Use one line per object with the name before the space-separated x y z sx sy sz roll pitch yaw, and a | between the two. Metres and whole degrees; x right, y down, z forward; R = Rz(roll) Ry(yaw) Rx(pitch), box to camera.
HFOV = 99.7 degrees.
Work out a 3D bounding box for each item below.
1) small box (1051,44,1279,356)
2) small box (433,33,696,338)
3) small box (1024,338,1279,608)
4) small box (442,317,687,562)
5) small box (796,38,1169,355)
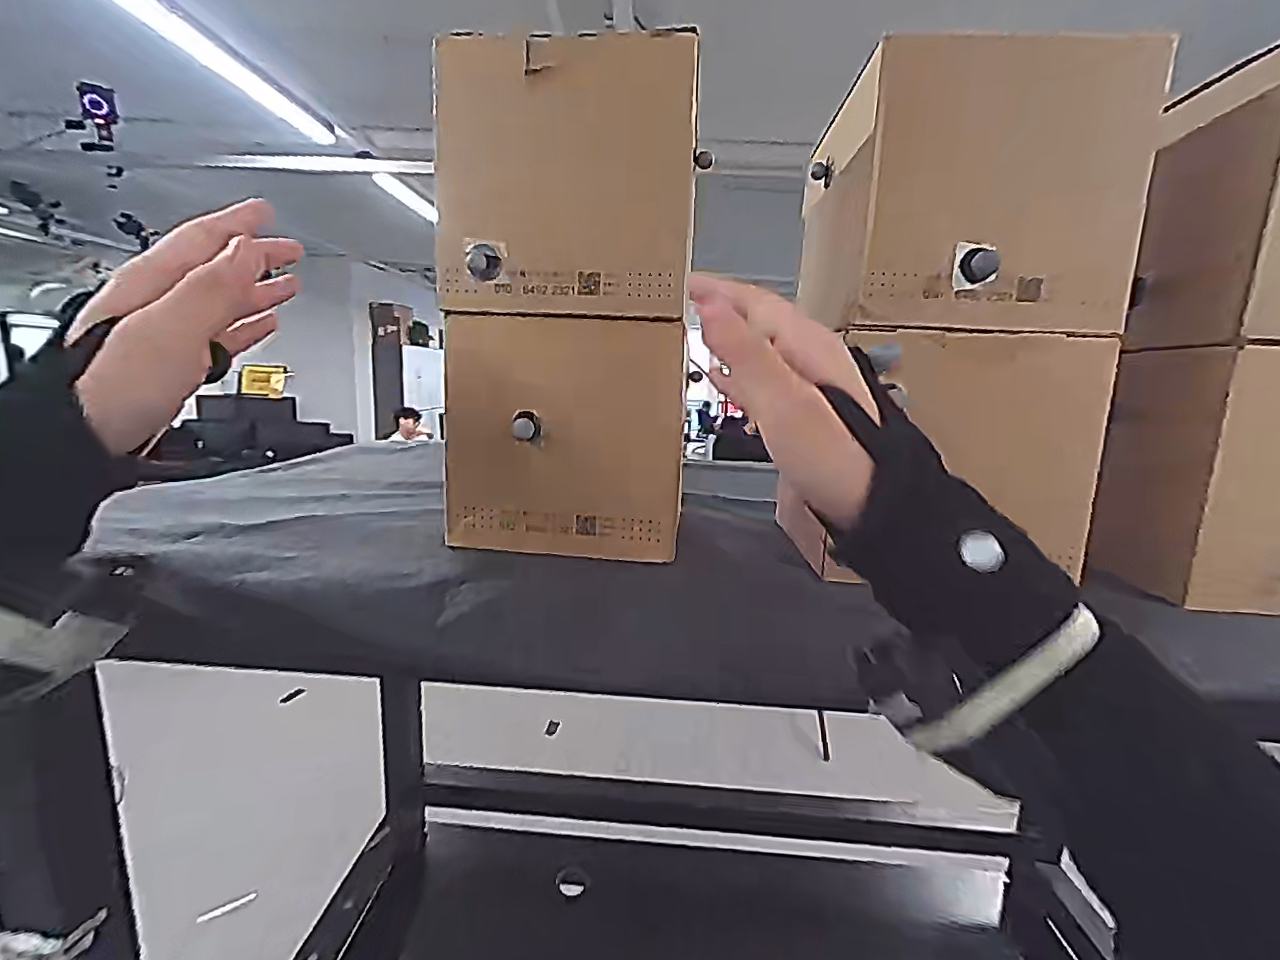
small box | 0.440 -0.173 0.383 0.168 0.176 0.179 4 11 4
small box | -0.042 -0.198 0.422 0.168 0.176 0.179 3 8 5
small box | 0.432 -0.010 0.410 0.168 0.176 0.179 2 10 4
small box | -0.047 -0.037 0.452 0.168 0.176 0.179 4 9 5
small box | 0.222 -0.183 0.406 0.168 0.176 0.179 2 10 2
